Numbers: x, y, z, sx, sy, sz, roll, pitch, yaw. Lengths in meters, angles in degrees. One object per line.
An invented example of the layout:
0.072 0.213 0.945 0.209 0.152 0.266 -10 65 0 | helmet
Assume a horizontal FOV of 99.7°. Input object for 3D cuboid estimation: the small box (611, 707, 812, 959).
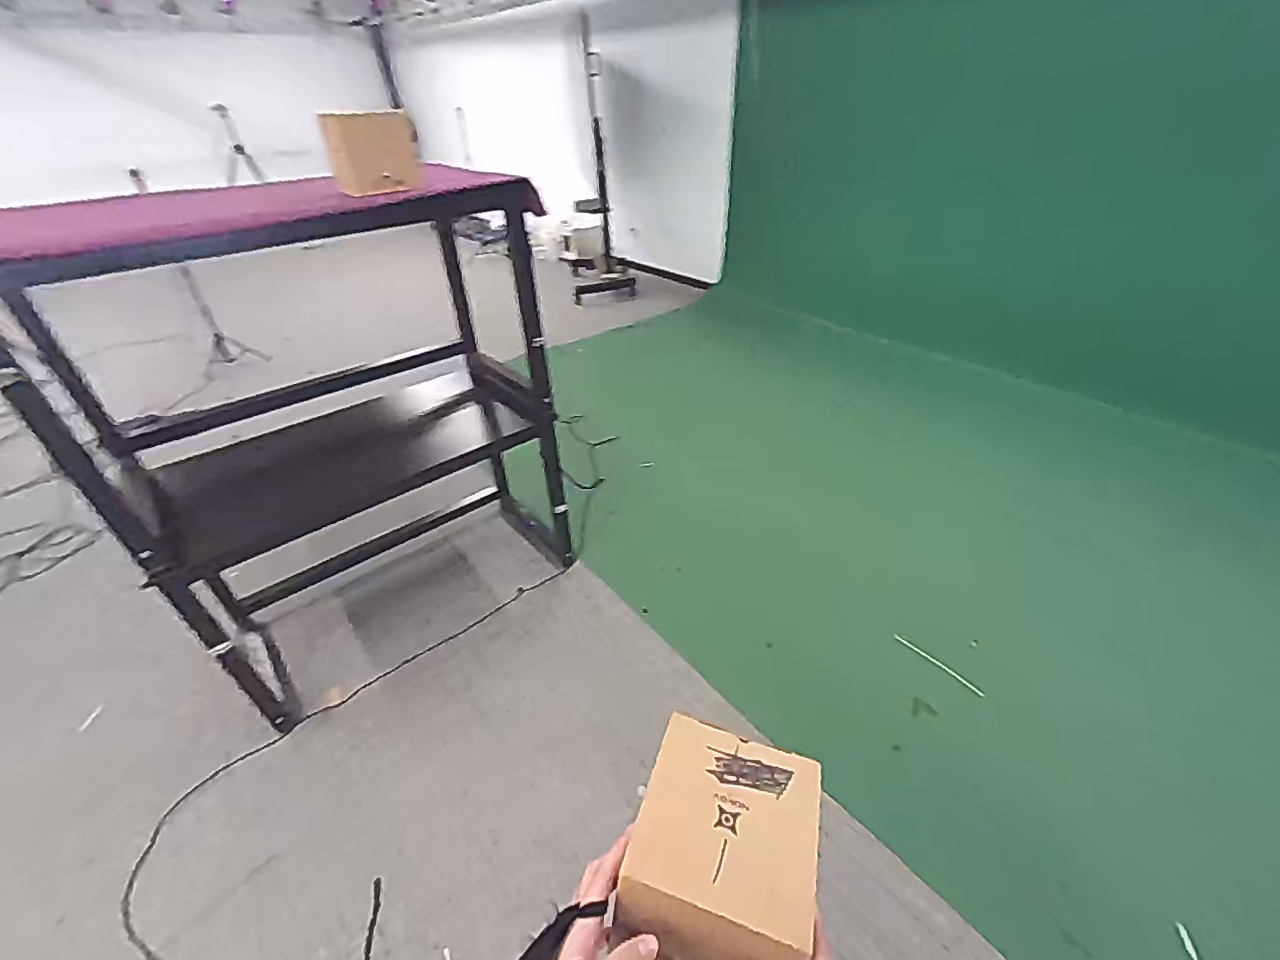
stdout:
0.074 0.385 0.568 0.168 0.176 0.179 14 31 13 | small box
